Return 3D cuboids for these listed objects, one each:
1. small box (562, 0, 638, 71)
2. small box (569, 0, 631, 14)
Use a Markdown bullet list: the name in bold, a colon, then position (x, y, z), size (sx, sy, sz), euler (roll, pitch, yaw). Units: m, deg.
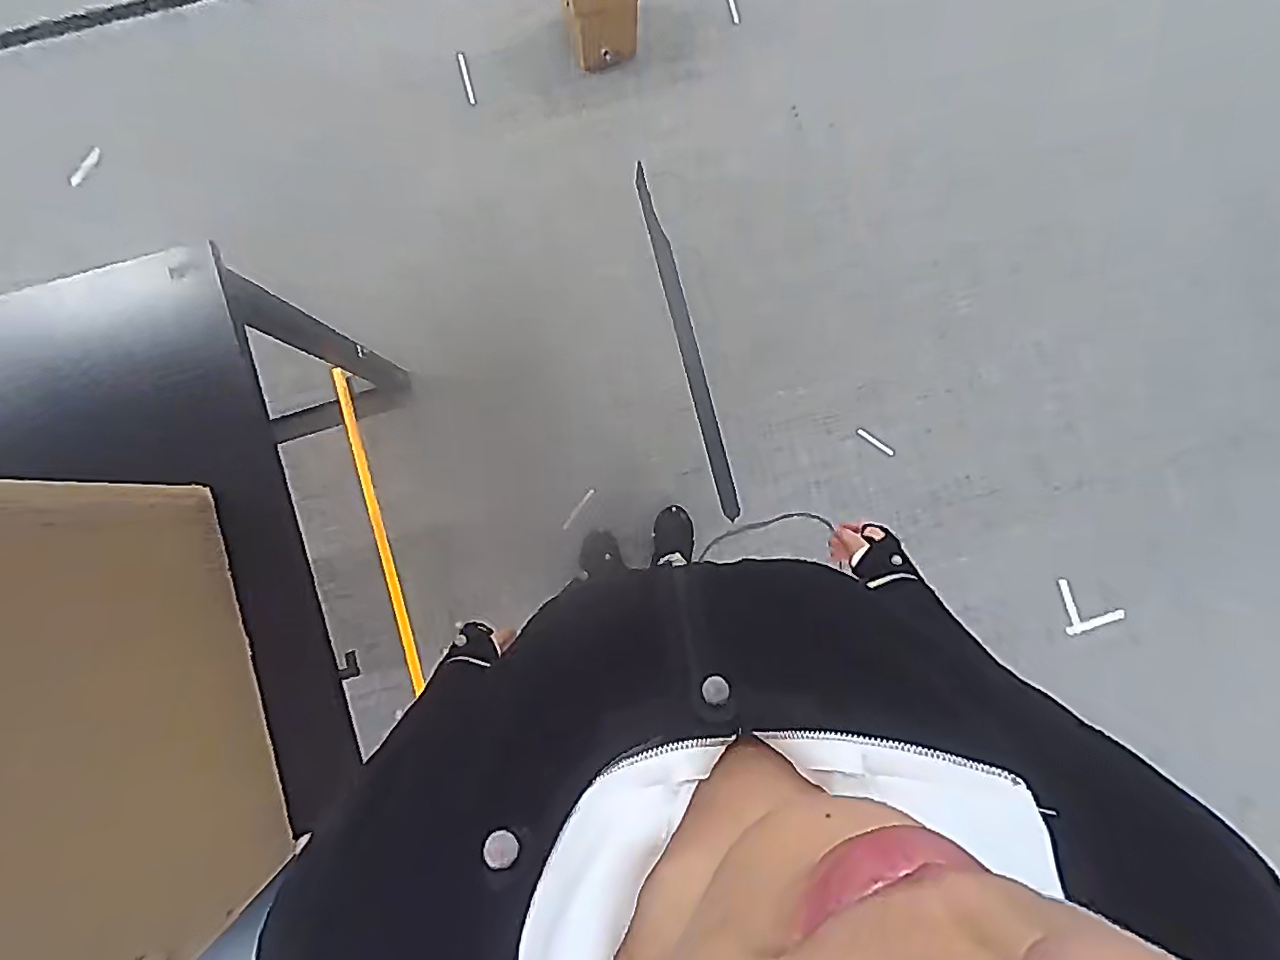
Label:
- **small box**: position (-0.113, -1.279, 1.473), size (0.168, 0.176, 0.179), euler (-21, 90, -1)
- **small box**: position (-0.110, -1.286, 1.308), size (0.179, 0.176, 0.168), euler (-17, 88, -2)
